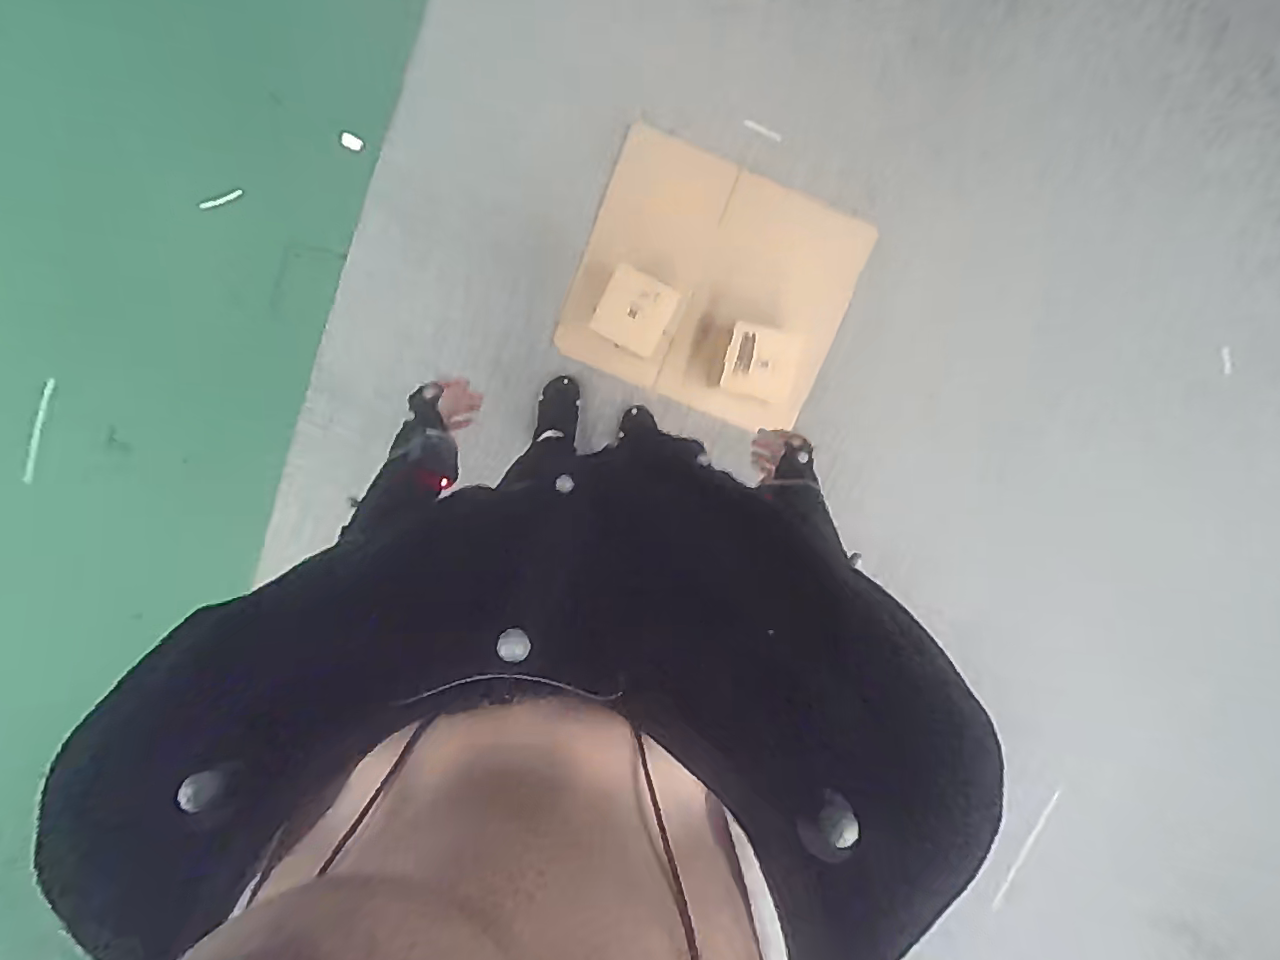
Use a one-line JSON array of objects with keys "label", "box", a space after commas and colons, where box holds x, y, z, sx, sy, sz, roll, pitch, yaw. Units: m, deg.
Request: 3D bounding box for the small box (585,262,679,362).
[{"label": "small box", "box": [-0.019, -0.407, 1.347, 0.168, 0.176, 0.179, 28, 98, -6]}]
